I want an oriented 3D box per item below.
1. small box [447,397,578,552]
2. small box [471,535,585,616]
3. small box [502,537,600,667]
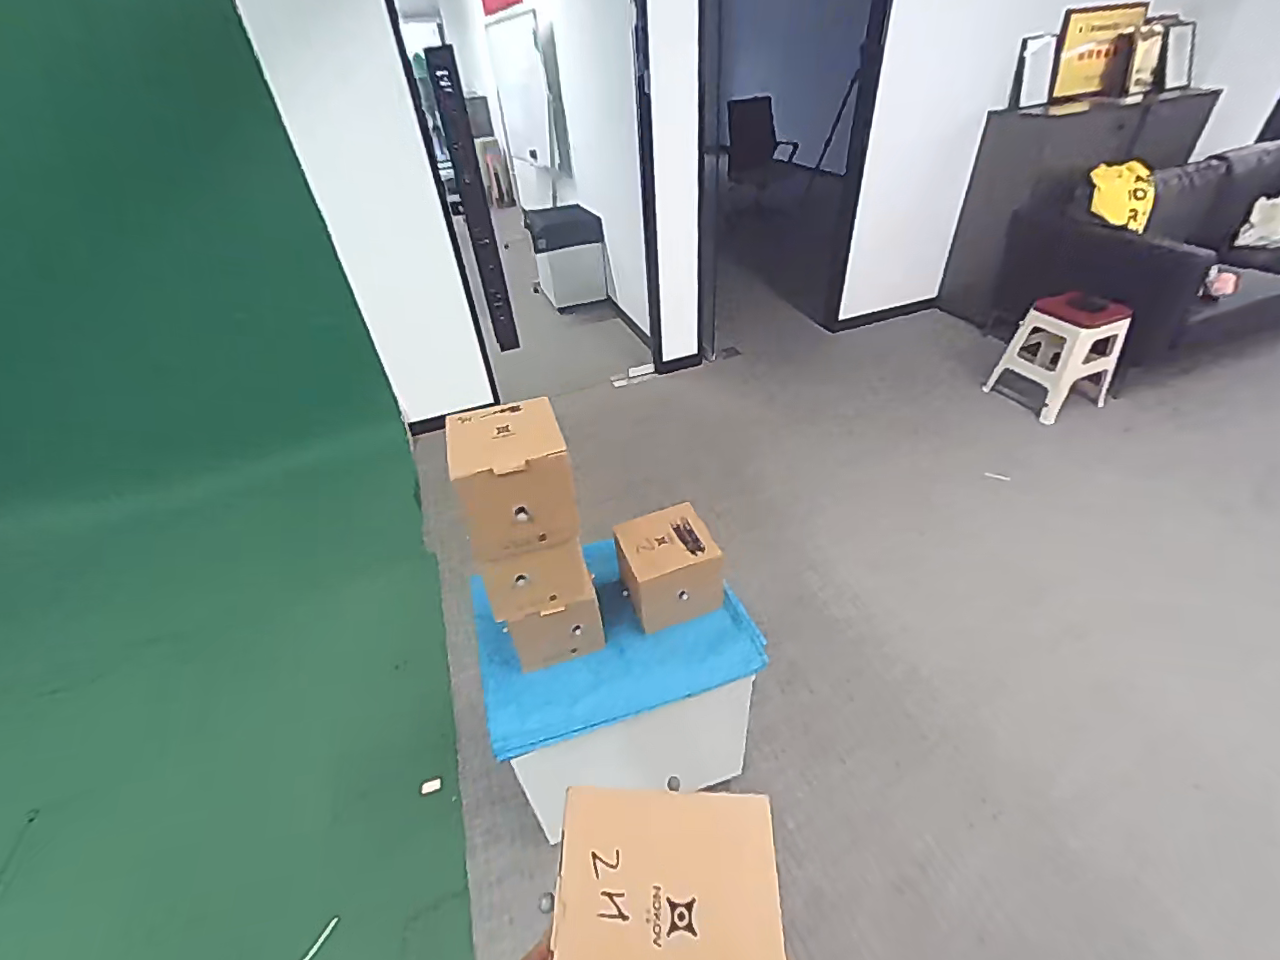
[{"bbox_3d":[-0.199,-0.005,0.853,0.168,0.176,0.179,-12,39,-11],"label":"small box"},{"bbox_3d":[-0.200,0.120,0.960,0.168,0.176,0.179,-12,38,-11],"label":"small box"},{"bbox_3d":[-0.180,0.244,1.063,0.168,0.176,0.179,-13,39,-12],"label":"small box"}]
